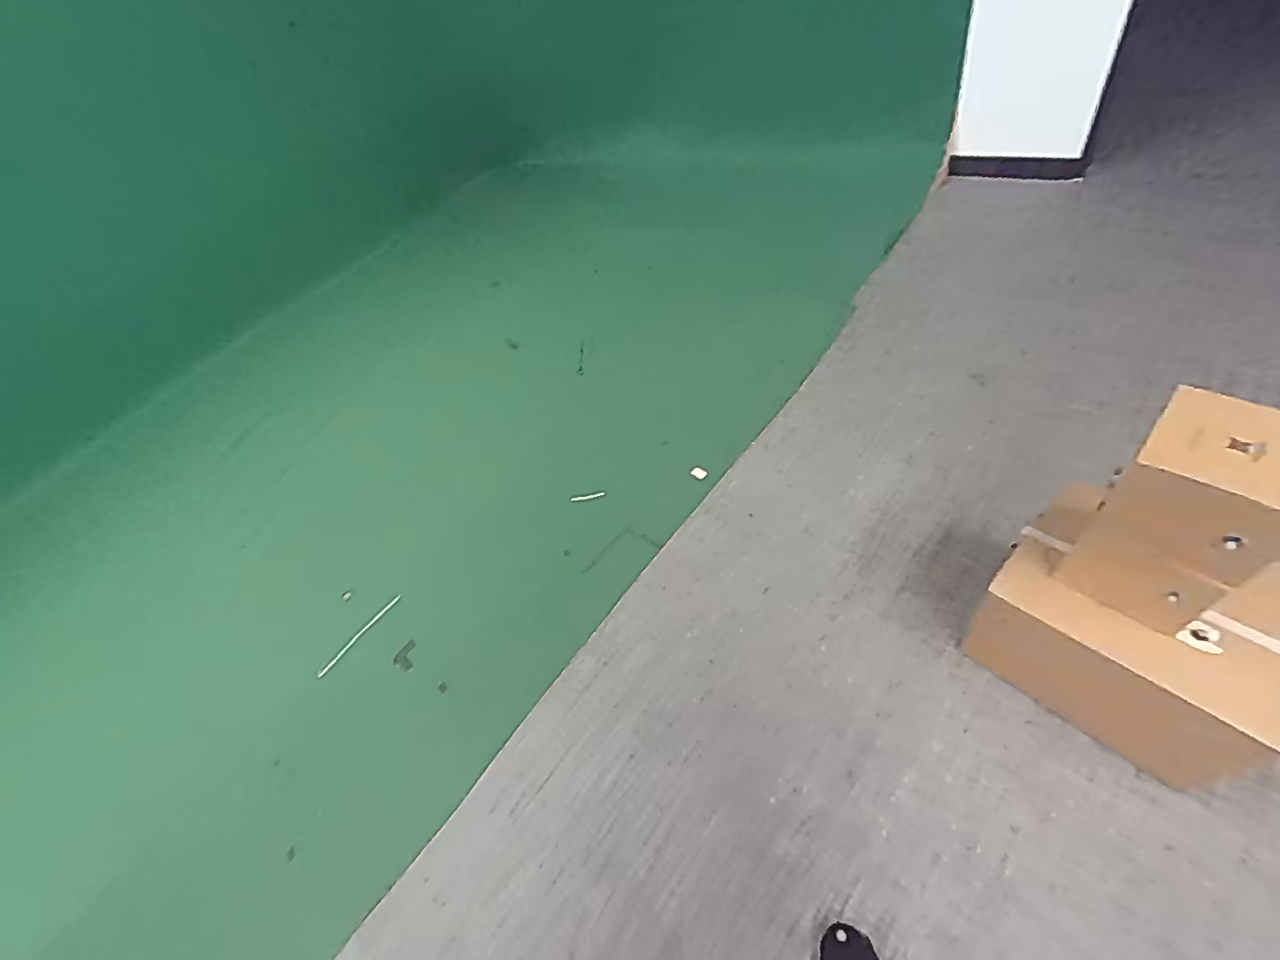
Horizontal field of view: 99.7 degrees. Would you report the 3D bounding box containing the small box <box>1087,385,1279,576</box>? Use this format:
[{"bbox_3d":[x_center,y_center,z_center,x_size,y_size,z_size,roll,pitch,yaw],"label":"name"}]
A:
[{"bbox_3d":[0.768,0.006,0.739,0.179,0.176,0.168,30,66,36],"label":"small box"}]

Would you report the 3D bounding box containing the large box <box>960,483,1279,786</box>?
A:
[{"bbox_3d":[0.901,0.278,1.014,0.320,0.320,0.408,-44,52,-16],"label":"large box"}]
